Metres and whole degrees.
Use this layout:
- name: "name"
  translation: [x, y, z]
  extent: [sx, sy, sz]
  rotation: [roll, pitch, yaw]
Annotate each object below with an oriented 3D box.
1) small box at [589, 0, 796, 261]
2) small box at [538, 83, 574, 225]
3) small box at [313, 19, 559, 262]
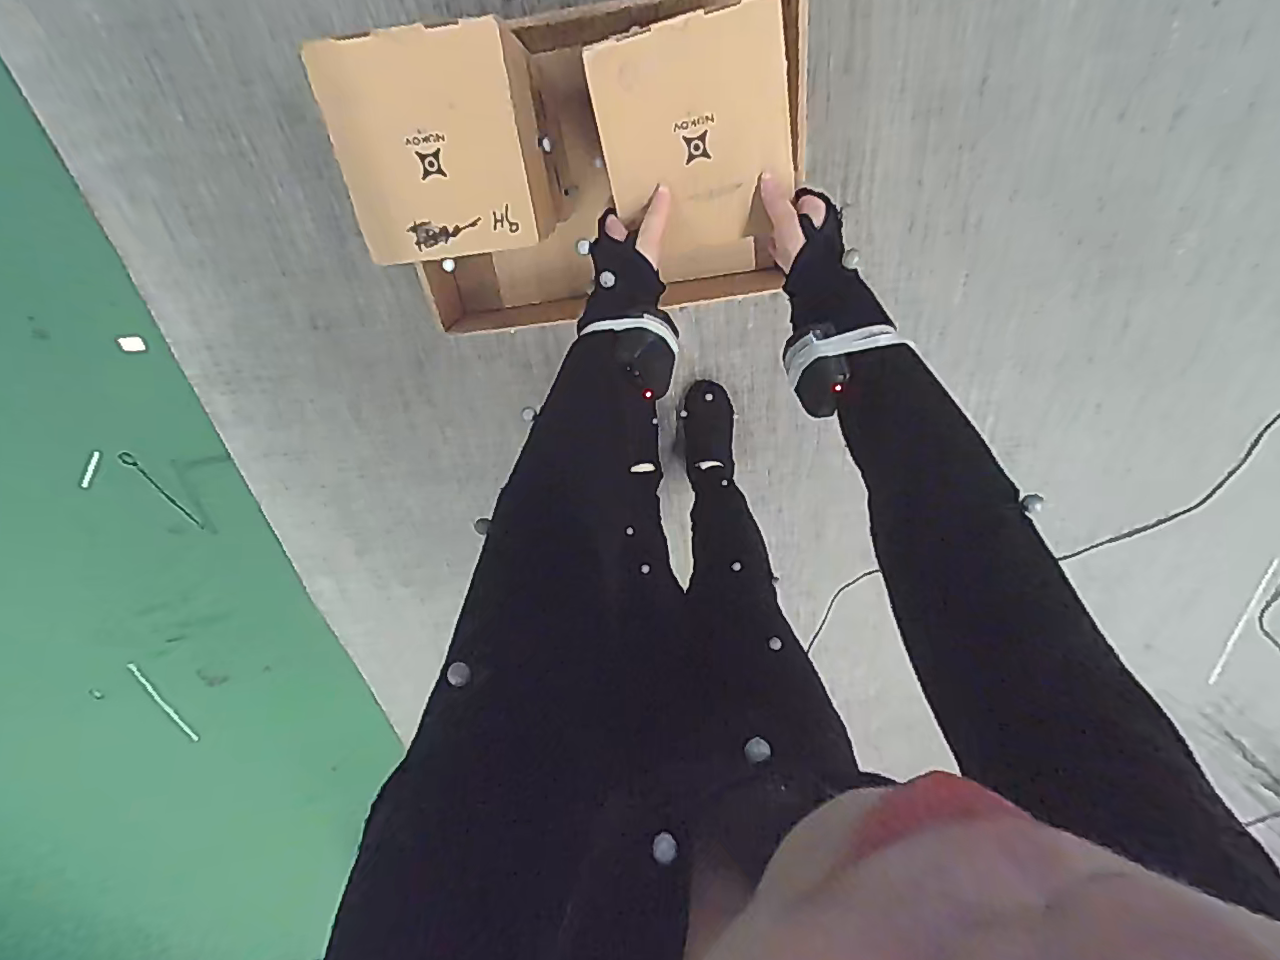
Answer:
- name: "small box"
  translation: [0.054, -0.340, 0.548]
  extent: [0.168, 0.176, 0.179]
  rotation: [-9, 120, 8]
- name: "small box"
  translation: [-0.199, -0.495, 0.839]
  extent: [0.168, 0.176, 0.179]
  rotation: [-4, 120, 1]
- name: "small box"
  translation: [-0.184, -0.332, 0.553]
  extent: [0.168, 0.176, 0.179]
  rotation: [-5, 120, 3]
